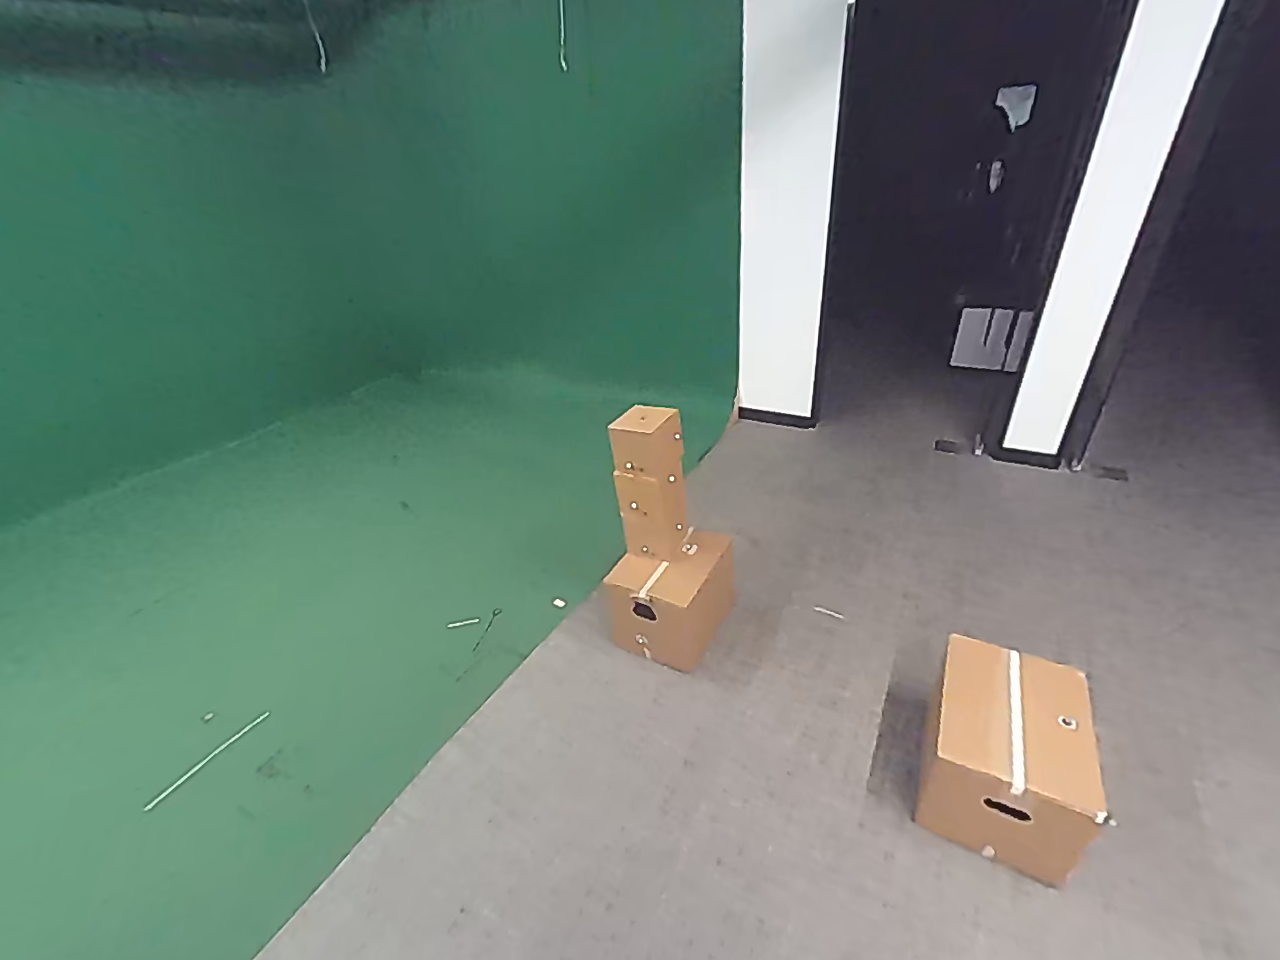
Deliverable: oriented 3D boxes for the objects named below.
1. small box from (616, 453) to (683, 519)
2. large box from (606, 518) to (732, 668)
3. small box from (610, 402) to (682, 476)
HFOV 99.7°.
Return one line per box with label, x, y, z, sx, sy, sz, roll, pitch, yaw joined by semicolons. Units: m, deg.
small box;0.039;0.007;1.835;0.168;0.176;0.179;10;36;29
large box;0.122;0.397;1.969;0.320;0.320;0.408;12;35;28
small box;0.025;-0.134;1.755;0.168;0.176;0.179;11;37;31
